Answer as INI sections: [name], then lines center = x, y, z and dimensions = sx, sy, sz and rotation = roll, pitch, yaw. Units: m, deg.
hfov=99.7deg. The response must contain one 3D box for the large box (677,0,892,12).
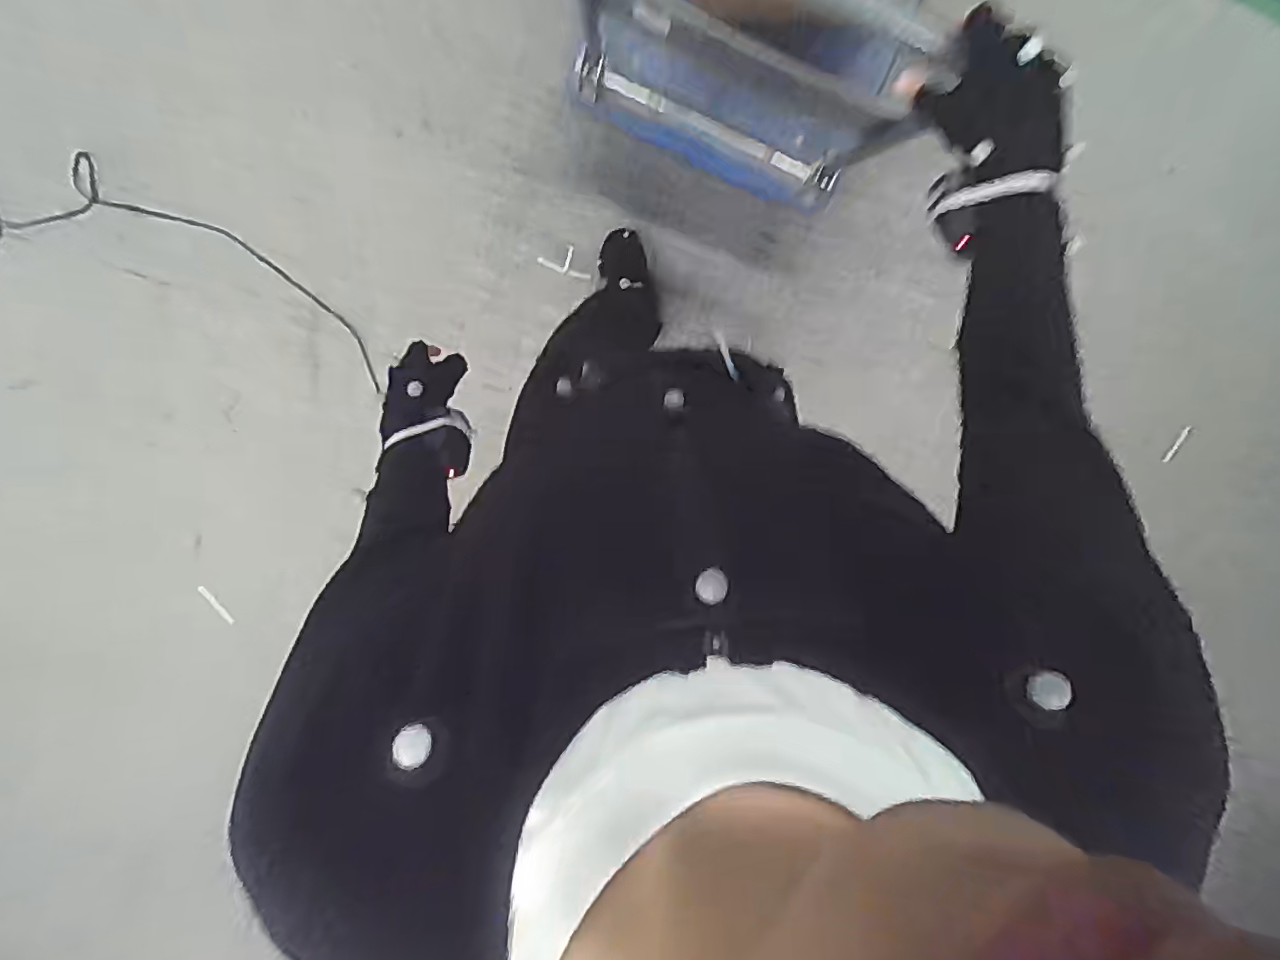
[large box]
center = 0.267, -0.973, 0.825
dimensions = 0.408, 0.320, 0.320
rotation = 0, 108, 0
